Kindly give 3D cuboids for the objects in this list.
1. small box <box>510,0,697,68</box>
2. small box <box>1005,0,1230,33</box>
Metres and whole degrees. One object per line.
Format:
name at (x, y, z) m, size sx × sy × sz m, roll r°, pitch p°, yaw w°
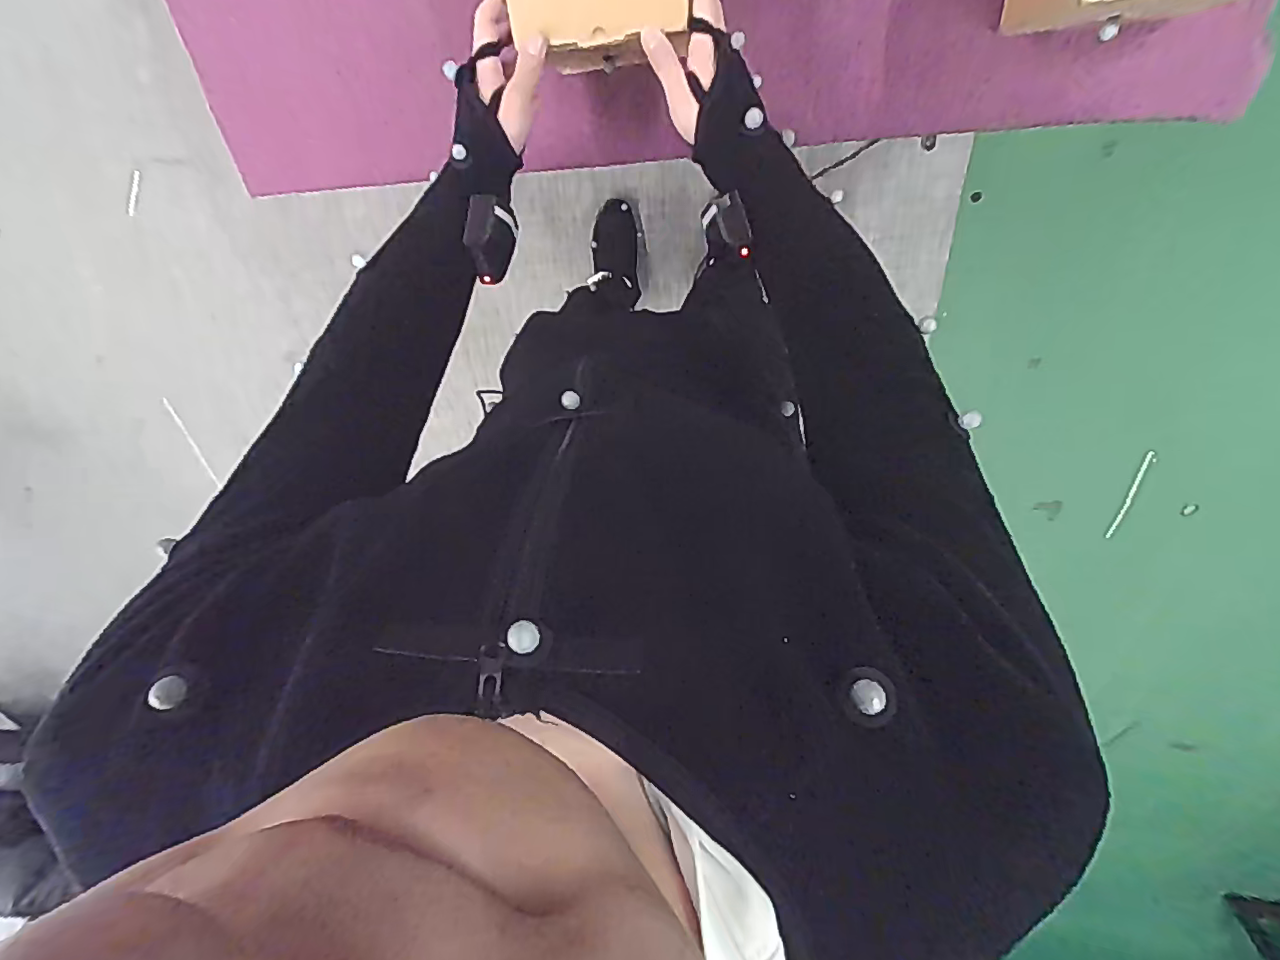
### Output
small box at (-0.033, -0.520, 0.518) m, size 0.168 × 0.176 × 0.179 m, roll -1°, pitch 123°, yaw 10°
small box at (0.439, -0.500, 0.446) m, size 0.168 × 0.176 × 0.179 m, roll 2°, pitch 123°, yaw 10°
